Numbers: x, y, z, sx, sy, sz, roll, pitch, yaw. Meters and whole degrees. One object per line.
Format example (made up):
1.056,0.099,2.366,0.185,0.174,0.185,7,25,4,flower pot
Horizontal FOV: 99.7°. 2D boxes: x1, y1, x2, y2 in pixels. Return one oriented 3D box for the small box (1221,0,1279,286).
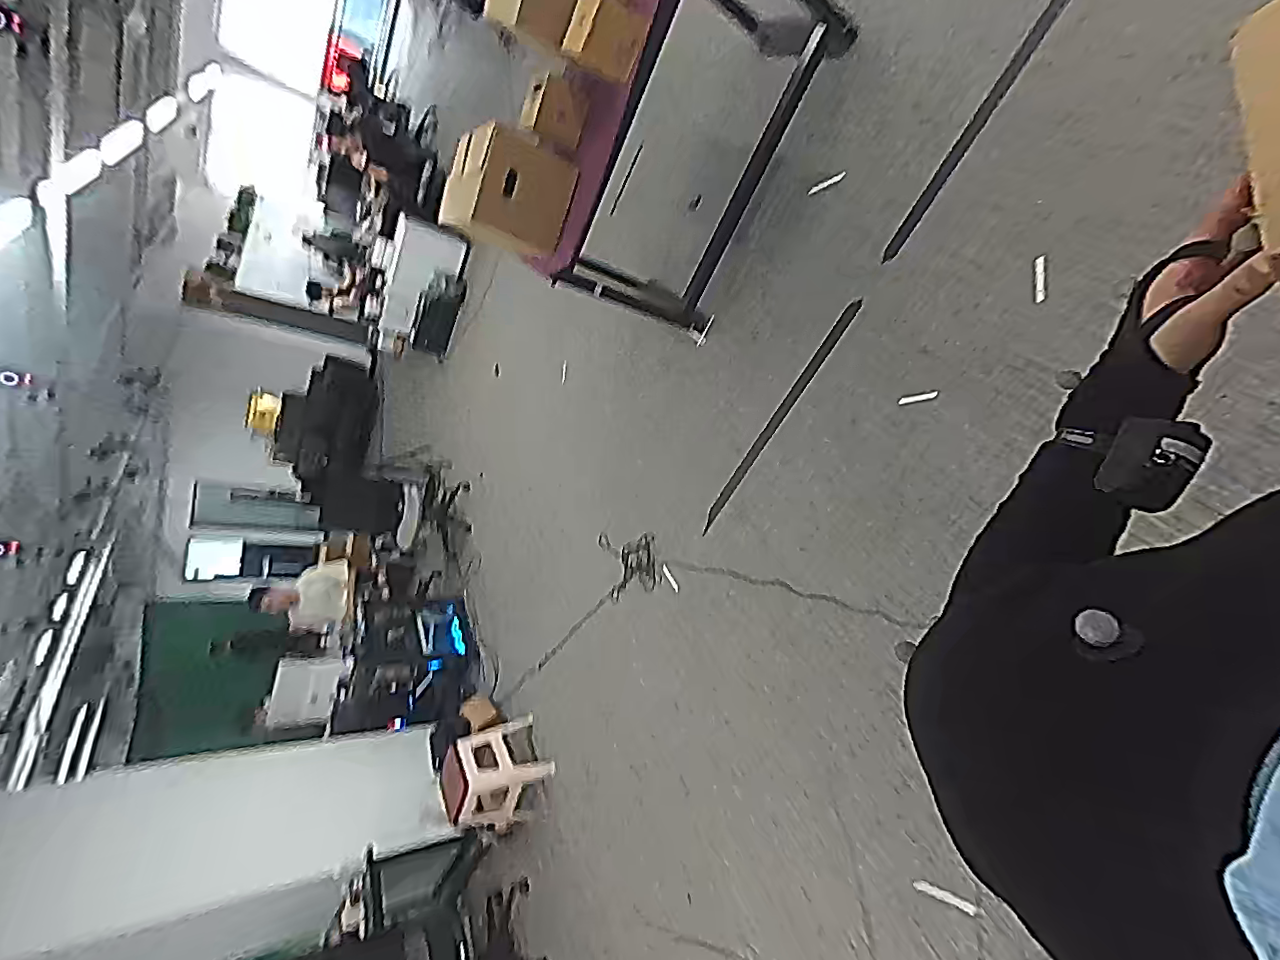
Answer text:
0.445,-0.189,0.273,0.168,0.176,0.179,-15,59,58,small box
